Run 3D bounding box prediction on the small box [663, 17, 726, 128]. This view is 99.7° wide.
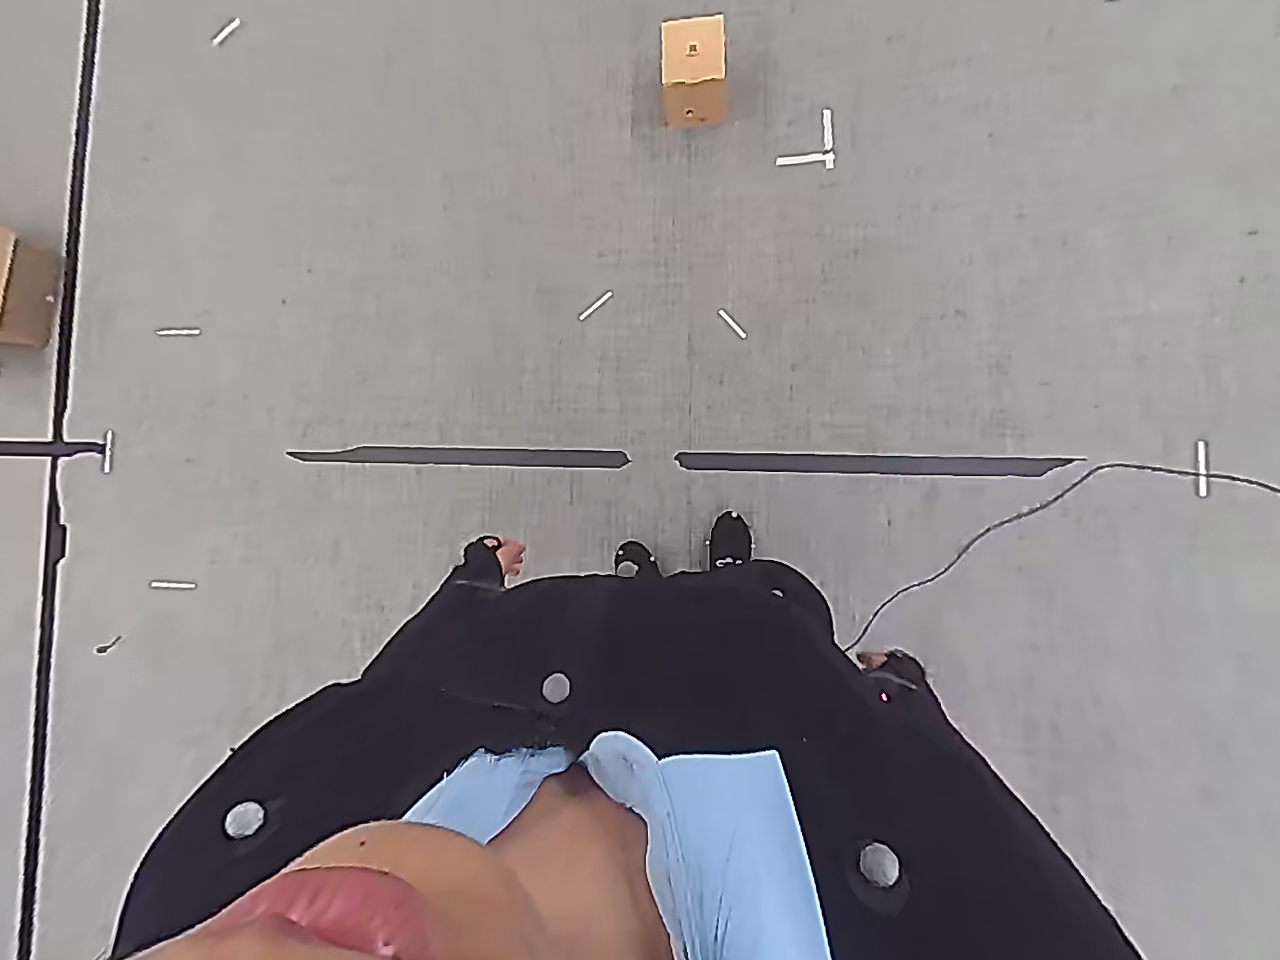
[{"bbox_3d":[0.149,-1.117,1.491,0.168,0.176,0.179,-1,87,7],"label":"small box"}]
